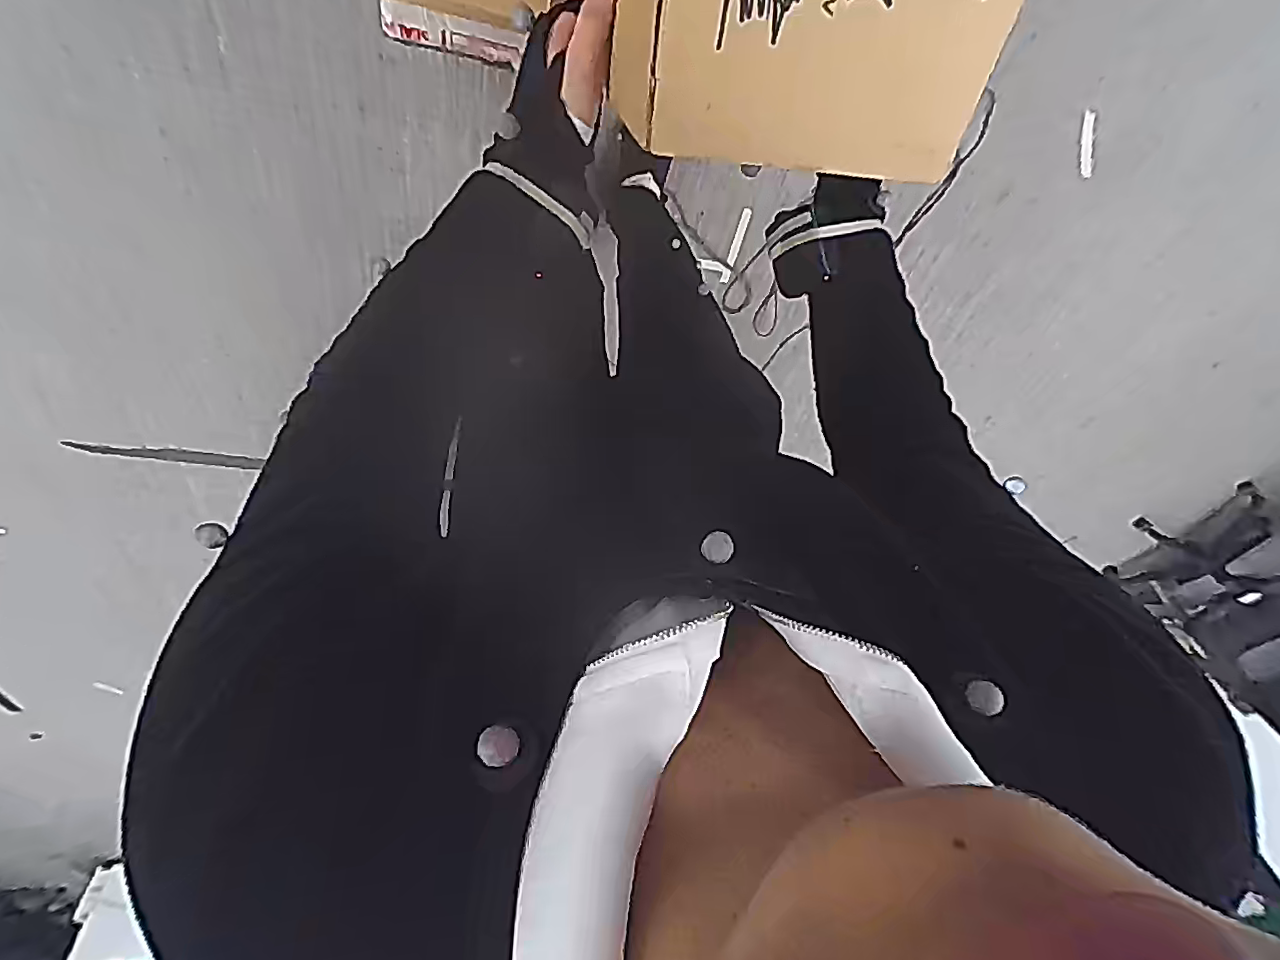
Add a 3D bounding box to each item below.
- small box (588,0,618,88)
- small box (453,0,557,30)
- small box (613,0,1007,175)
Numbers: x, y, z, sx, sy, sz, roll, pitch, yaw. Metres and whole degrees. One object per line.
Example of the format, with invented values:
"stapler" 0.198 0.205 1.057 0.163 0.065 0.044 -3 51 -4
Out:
"small box" 0.059 -0.407 0.420 0.179 0.176 0.168 -2 133 -12
"small box" -0.140 -0.518 0.444 0.168 0.176 0.179 7 138 -13
"small box" 0.084 -0.292 0.304 0.179 0.176 0.168 -1 133 -12
